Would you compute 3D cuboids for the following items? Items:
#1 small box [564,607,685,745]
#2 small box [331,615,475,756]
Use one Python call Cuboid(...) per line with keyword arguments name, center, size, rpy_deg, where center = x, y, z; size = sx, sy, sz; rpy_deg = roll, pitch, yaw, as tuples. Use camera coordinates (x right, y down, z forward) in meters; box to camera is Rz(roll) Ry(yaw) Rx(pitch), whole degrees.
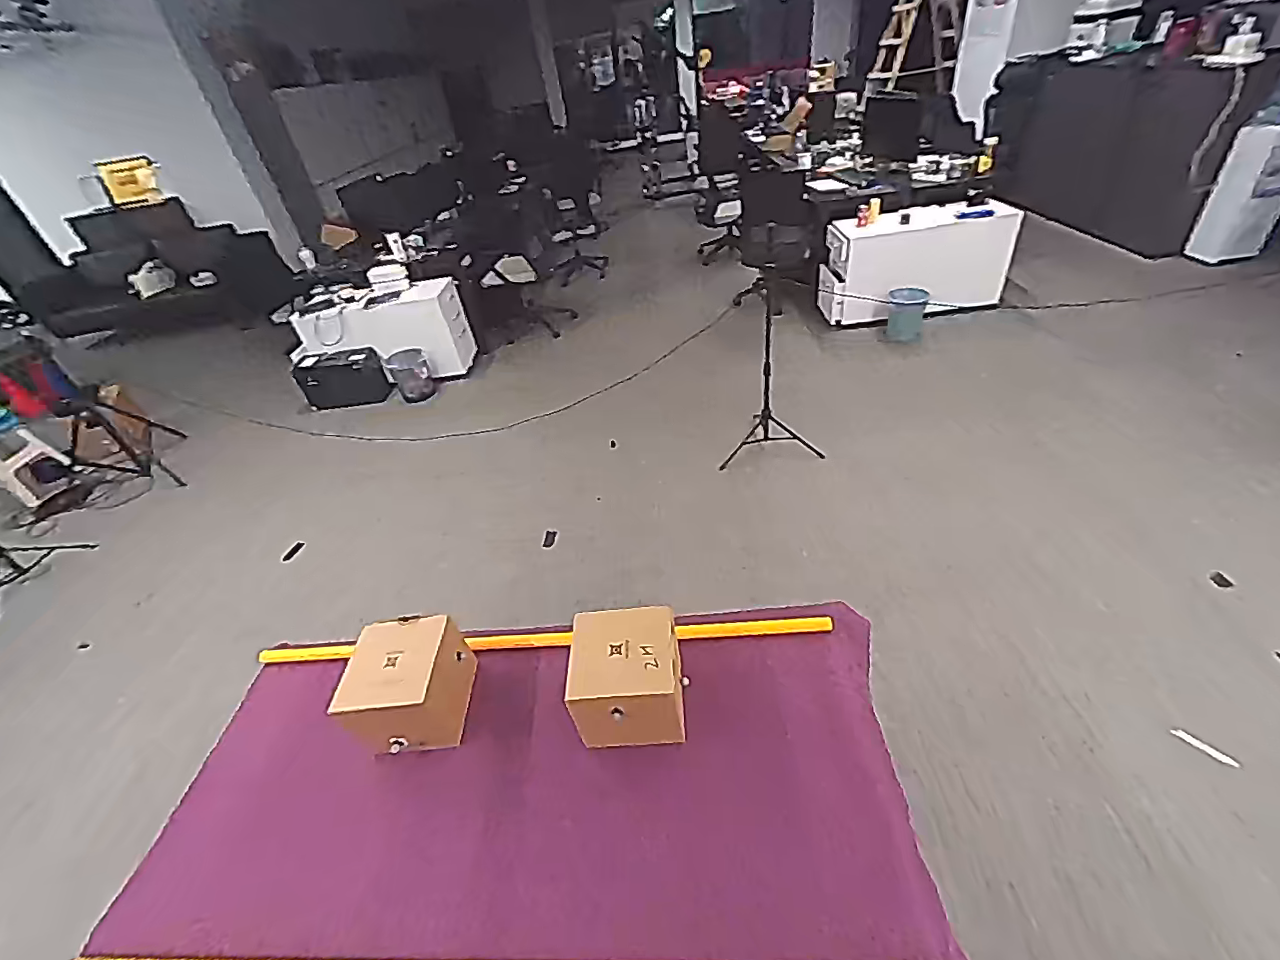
Cuboid(name="small box", center=(-0.019, 0.343, 0.941), size=(0.179, 0.176, 0.168), rpy_deg=(-6, 40, 6))
Cuboid(name="small box", center=(-0.417, 0.376, 0.990), size=(0.168, 0.176, 0.179), rpy_deg=(-8, 39, 4))
